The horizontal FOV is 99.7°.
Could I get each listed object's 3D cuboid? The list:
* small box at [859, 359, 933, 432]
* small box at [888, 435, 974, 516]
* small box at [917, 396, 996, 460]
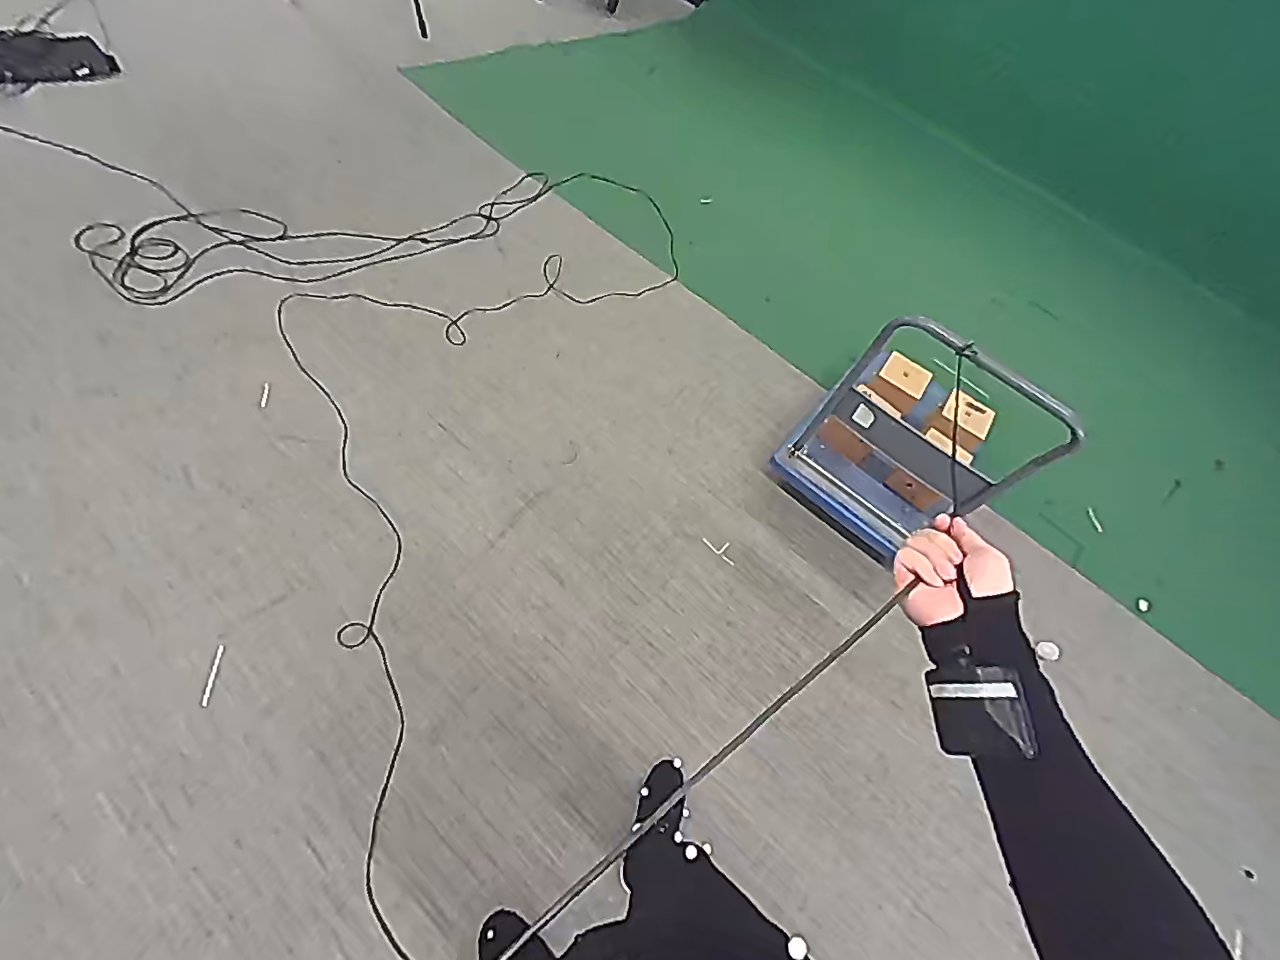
[{"bbox_3d":[0.950,-0.313,2.023,0.168,0.176,0.179,37,57,10],"label":"small box"},{"bbox_3d":[0.979,-0.013,1.834,0.168,0.176,0.179,41,58,14],"label":"small box"},{"bbox_3d":[1.150,-0.167,1.975,0.168,0.176,0.179,36,58,12],"label":"small box"}]
